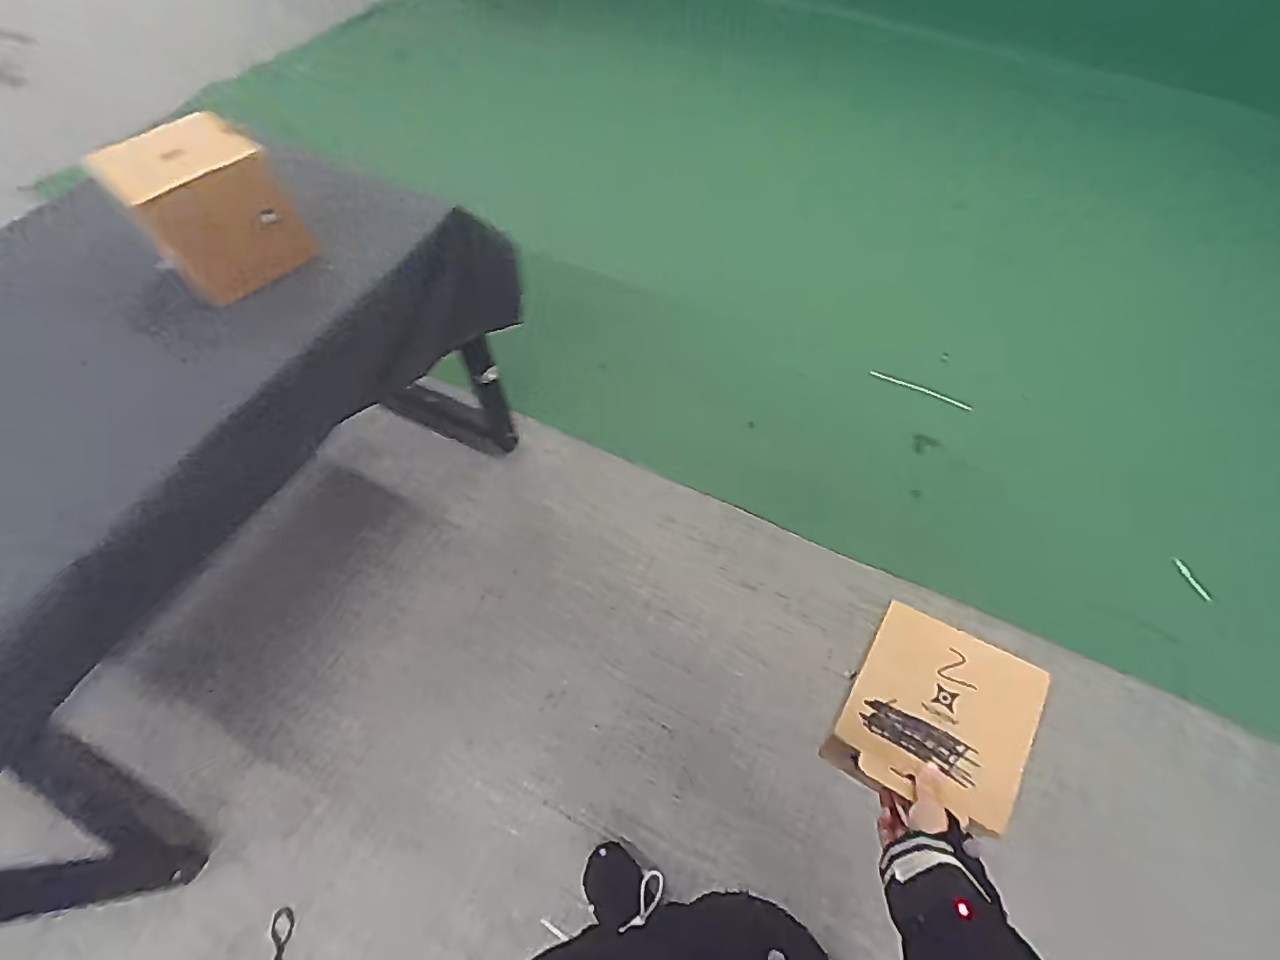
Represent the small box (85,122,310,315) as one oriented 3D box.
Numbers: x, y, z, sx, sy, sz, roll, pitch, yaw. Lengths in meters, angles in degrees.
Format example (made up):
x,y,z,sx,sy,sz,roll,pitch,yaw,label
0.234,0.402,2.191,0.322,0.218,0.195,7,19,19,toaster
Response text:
x,y,z,sx,sy,sz,roll,pitch,yaw,label
-0.634,-0.385,0.805,0.168,0.176,0.179,36,66,20,small box
